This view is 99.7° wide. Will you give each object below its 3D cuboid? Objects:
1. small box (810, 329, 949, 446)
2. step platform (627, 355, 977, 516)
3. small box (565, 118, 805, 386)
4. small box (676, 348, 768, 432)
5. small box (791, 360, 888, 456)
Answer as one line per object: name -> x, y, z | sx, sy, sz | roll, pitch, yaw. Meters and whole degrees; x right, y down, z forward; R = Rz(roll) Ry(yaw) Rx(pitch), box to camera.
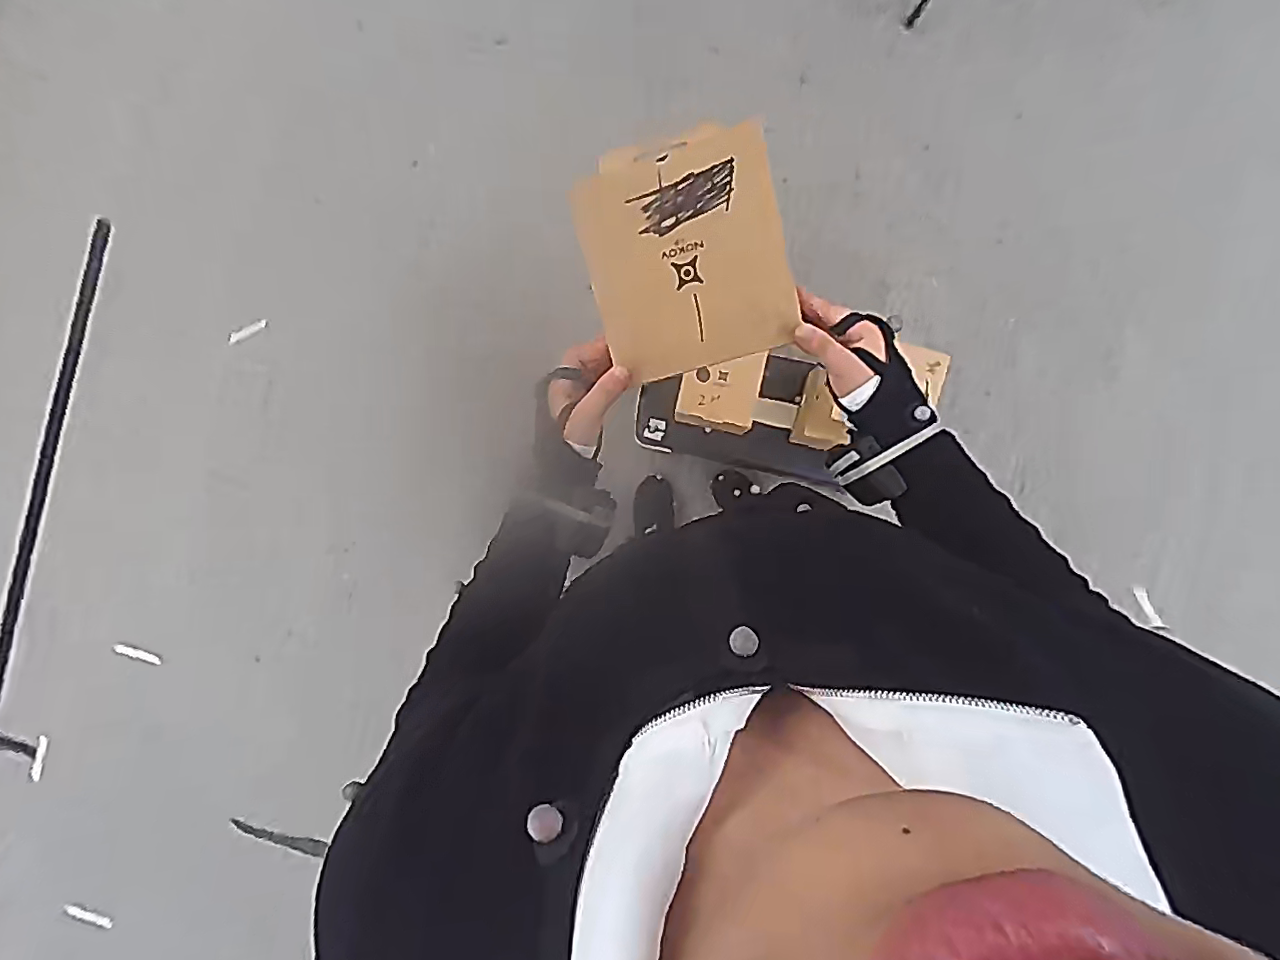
small box -> 0.446, -0.168, 1.038 | 0.179, 0.176, 0.168 | 17, 91, 4
step platform -> 0.323, -0.130, 1.173 | 0.684, 0.204, 0.286 | 13, 91, 3
small box -> 0.043, -0.198, 0.522 | 0.168, 0.176, 0.179 | -15, 101, 8
small box -> 0.177, -0.214, 1.217 | 0.168, 0.176, 0.179 | 13, 91, 4
small box -> 0.451, -0.153, 1.201 | 0.179, 0.176, 0.168 | 16, 91, 4
